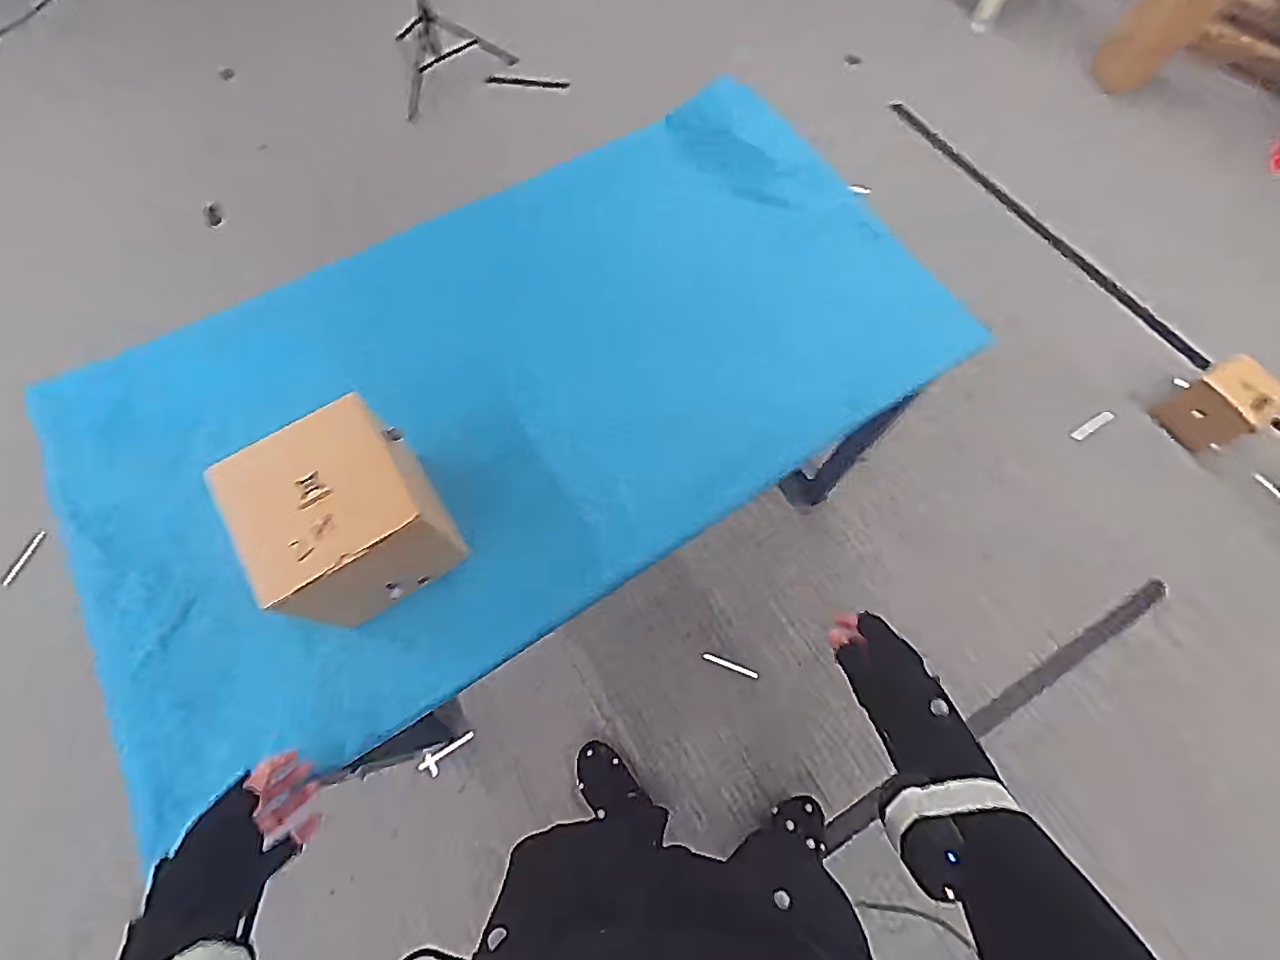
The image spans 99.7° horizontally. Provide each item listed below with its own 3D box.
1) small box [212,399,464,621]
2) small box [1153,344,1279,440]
[{"bbox_3d":[-0.331,0.045,0.623,0.168,0.176,0.179,-29,74,-9],"label":"small box"},{"bbox_3d":[1.594,-0.231,1.480,0.168,0.176,0.179,-28,71,-10],"label":"small box"}]
